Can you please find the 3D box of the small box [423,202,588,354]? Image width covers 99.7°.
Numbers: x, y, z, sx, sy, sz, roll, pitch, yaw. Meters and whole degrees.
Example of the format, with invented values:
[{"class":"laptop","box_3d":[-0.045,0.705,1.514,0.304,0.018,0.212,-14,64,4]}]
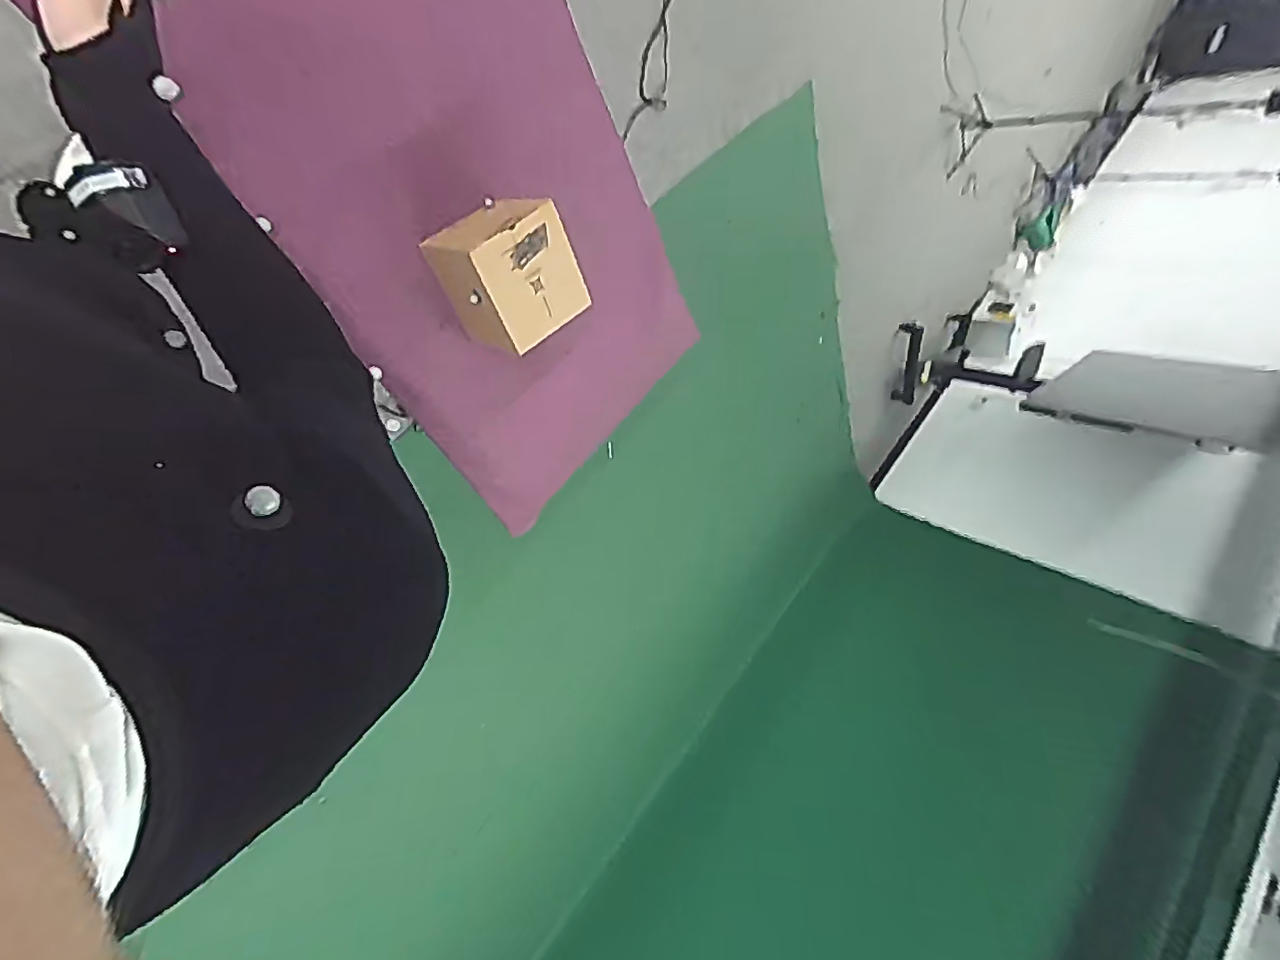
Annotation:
[{"class":"small box","box_3d":[-0.222,-0.338,0.894,0.168,0.176,0.179,-43,136,-22]}]
